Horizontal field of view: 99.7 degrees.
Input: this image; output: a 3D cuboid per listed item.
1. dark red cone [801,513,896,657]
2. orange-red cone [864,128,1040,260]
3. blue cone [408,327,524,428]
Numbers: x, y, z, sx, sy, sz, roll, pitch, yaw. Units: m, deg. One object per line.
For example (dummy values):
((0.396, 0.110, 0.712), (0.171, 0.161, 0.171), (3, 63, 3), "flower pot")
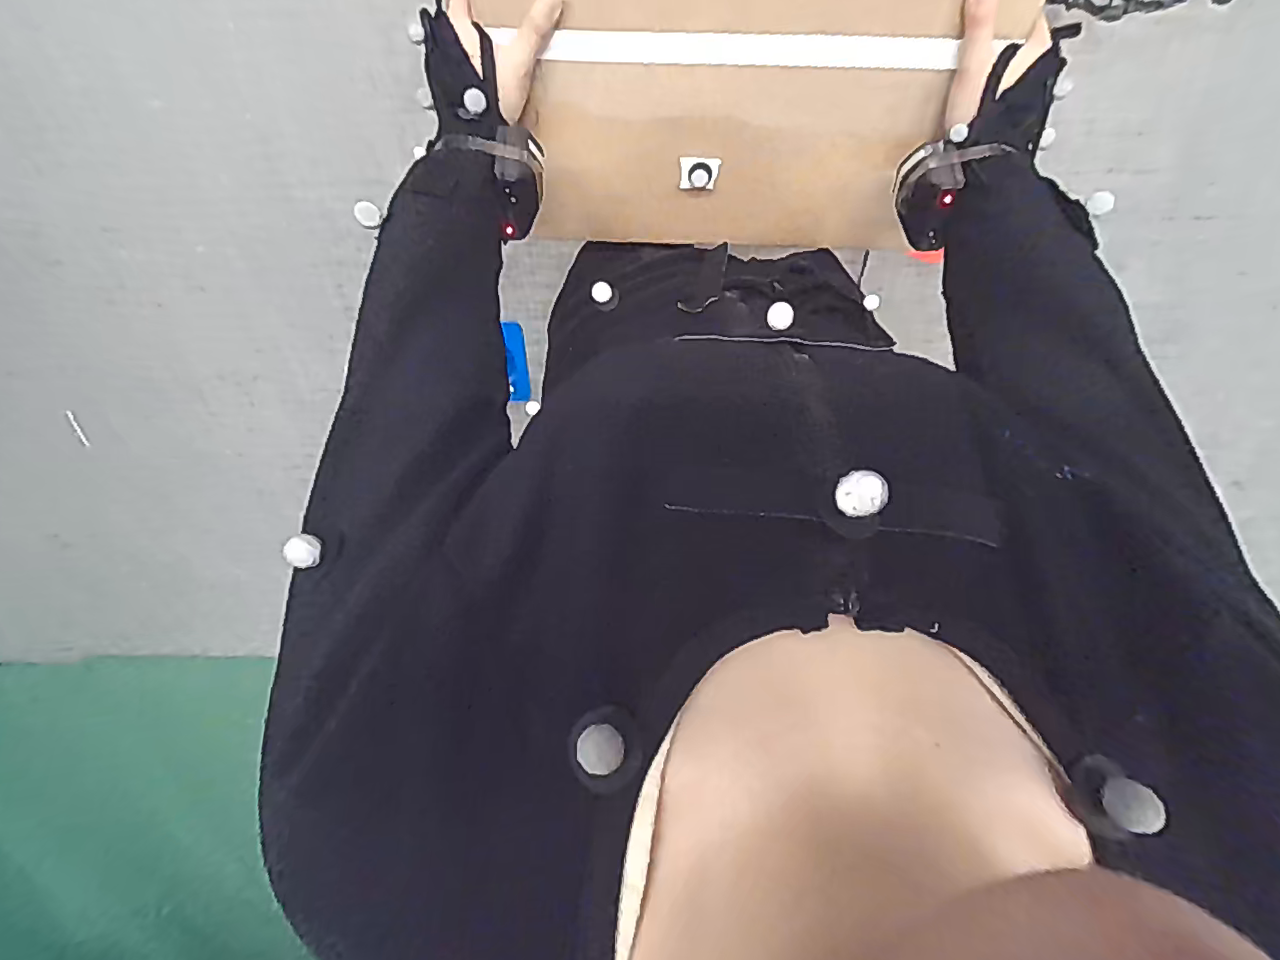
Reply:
((0.527, 0.263, 1.310), (0.202, 0.394, 0.201), (-6, 121, 7), "dark red cone")
((0.568, -0.481, 0.931), (0.199, 0.360, 0.198), (18, 119, -7), "orange-red cone")
((-0.392, -0.198, 1.167), (0.192, 0.380, 0.193), (1, 118, 4), "blue cone")
